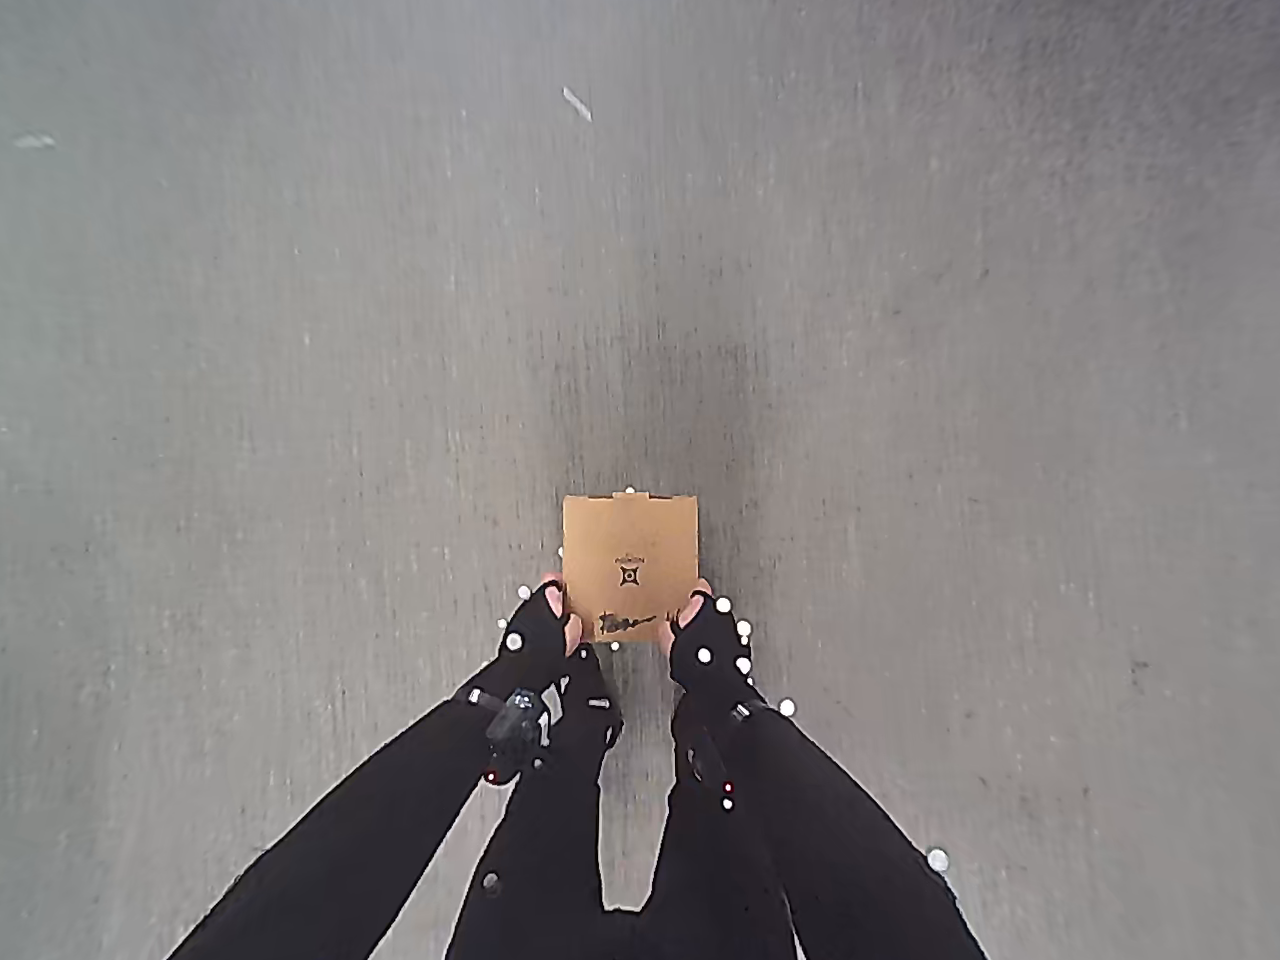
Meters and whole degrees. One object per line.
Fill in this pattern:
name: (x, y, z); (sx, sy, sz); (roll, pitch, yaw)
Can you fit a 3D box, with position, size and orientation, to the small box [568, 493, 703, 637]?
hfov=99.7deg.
small box: (-0.008, 0.114, 0.743); (0.168, 0.176, 0.179); (0, 83, -2)
